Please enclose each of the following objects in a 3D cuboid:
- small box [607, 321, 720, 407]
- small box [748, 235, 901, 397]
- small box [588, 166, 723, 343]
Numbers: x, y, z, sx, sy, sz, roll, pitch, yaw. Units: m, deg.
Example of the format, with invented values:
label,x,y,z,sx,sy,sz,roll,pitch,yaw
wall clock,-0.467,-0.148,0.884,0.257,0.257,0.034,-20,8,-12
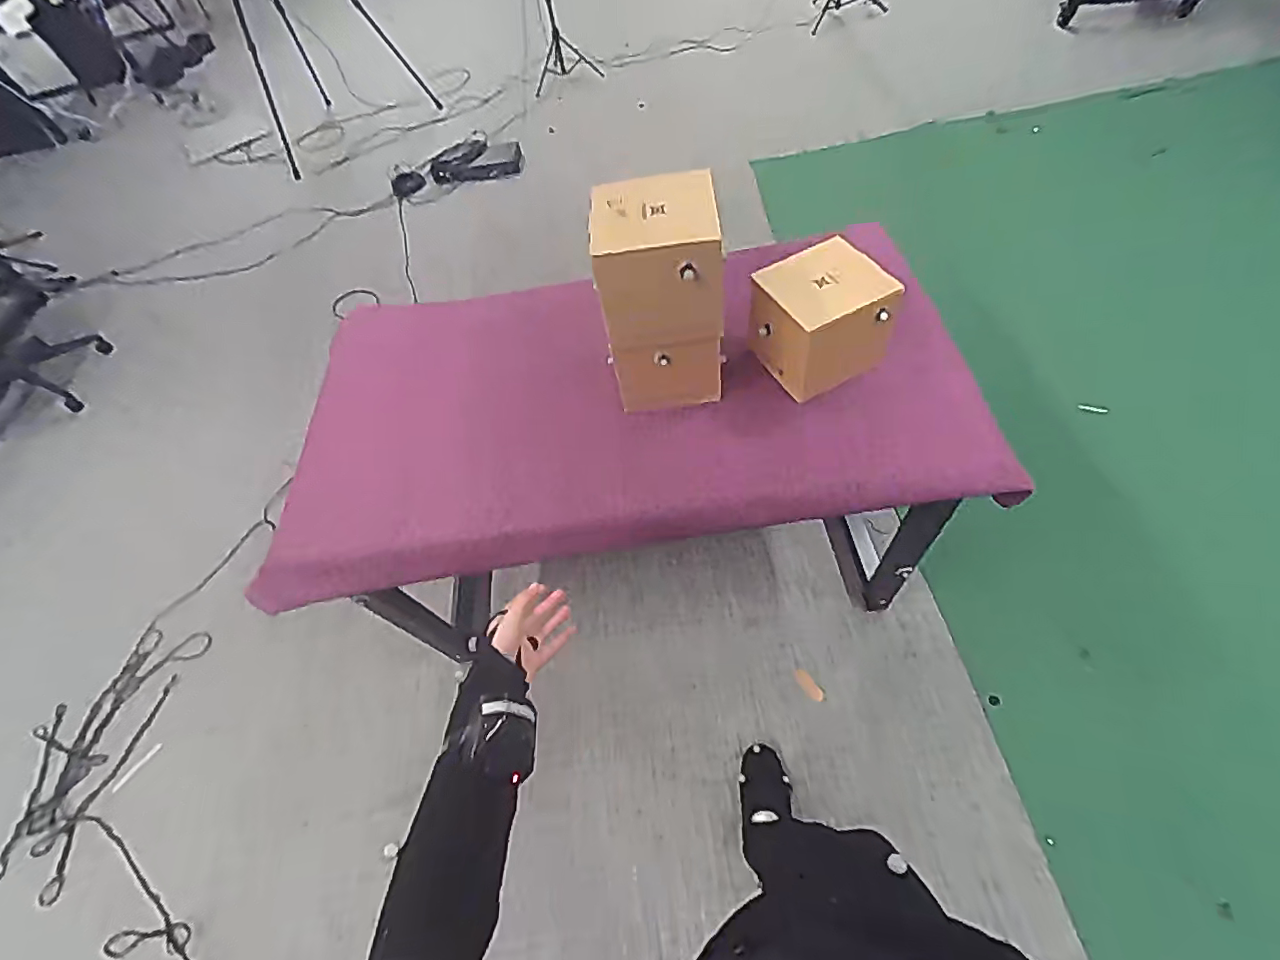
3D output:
label,x,y,z,sx,sy,sz,roll,pitch,yaw
small box,0.043,-0.243,0.939,0.179,0.176,0.168,-5,58,5
small box,0.300,-0.272,0.915,0.179,0.176,0.168,-26,57,-7
small box,0.027,-0.324,0.796,0.179,0.176,0.168,-5,57,6
